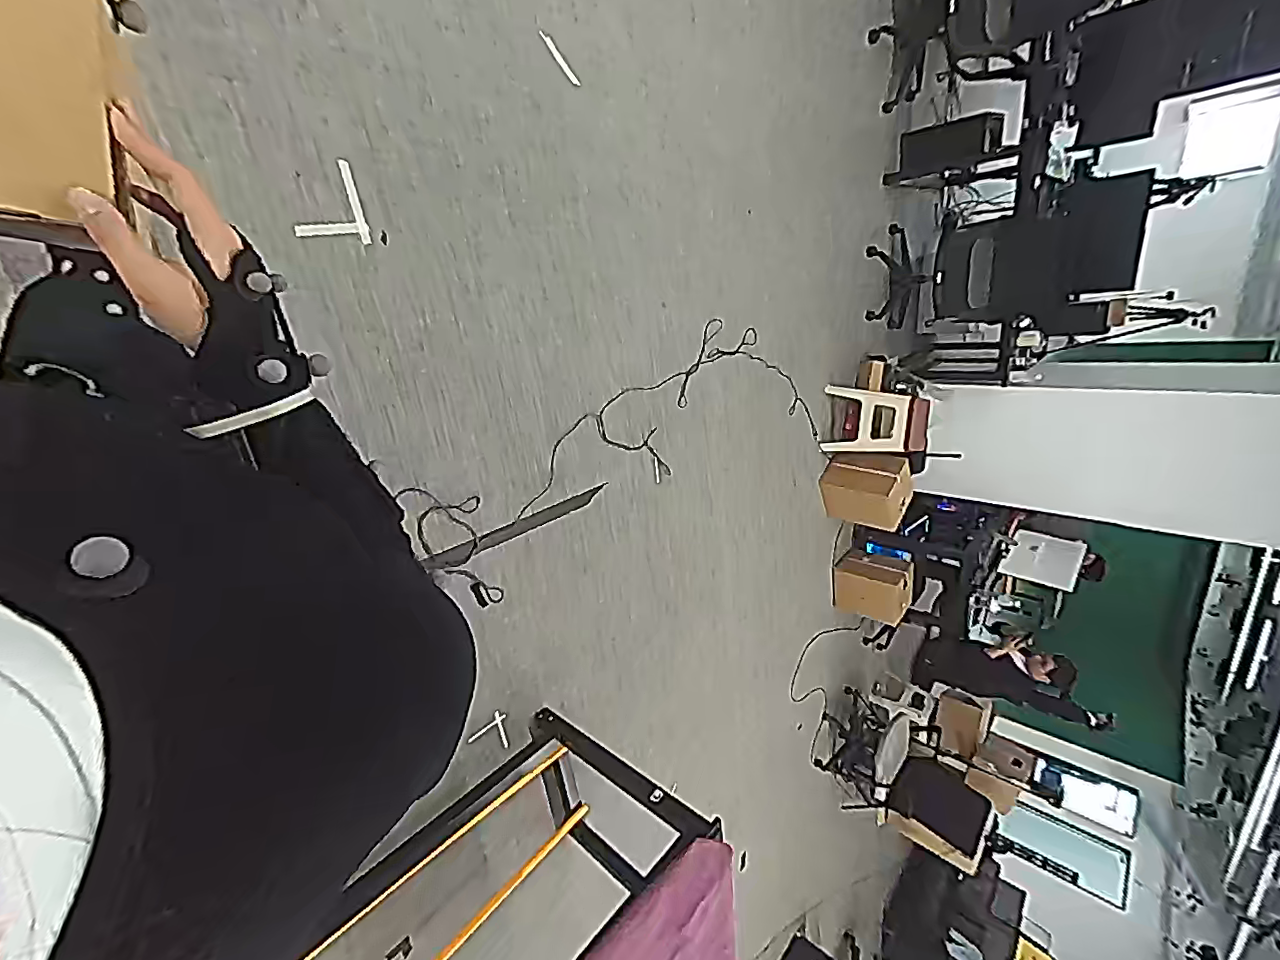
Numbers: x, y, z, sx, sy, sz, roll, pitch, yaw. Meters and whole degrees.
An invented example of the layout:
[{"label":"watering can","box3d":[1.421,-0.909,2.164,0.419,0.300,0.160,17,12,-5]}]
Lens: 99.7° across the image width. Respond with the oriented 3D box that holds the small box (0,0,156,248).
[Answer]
[{"label":"small box","box3d":[-0.396,-0.248,0.307,0.168,0.176,0.179,-2,105,-36]}]
